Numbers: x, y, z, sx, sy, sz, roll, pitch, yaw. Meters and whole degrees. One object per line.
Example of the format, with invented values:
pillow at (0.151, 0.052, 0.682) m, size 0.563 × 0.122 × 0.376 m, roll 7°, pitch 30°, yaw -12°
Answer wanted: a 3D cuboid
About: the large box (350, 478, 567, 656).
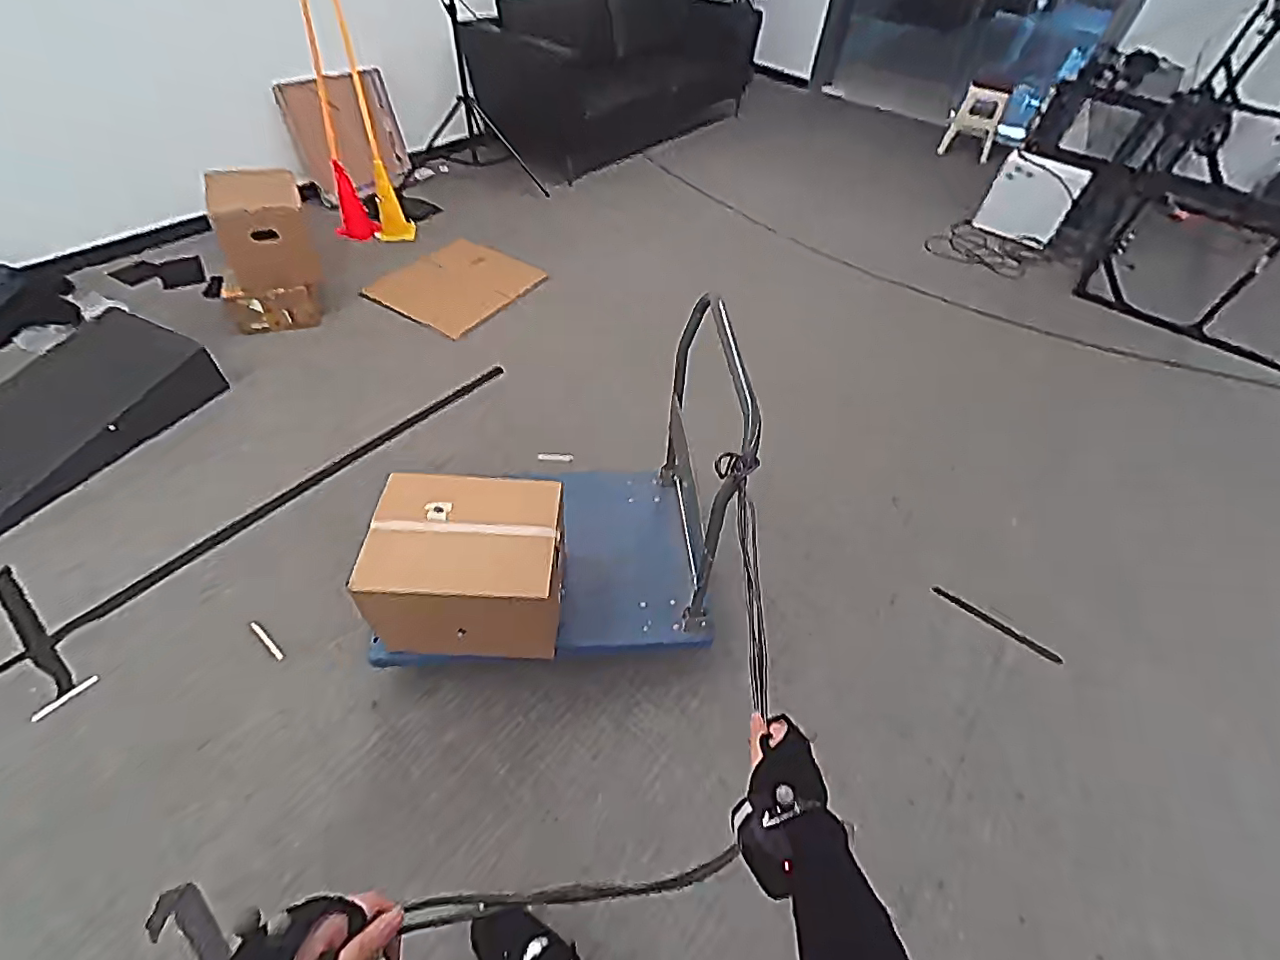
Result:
large box at (-0.389, 0.213, 1.292) m, size 0.408 × 0.320 × 0.320 m, roll 3°, pitch 49°, yaw -3°
